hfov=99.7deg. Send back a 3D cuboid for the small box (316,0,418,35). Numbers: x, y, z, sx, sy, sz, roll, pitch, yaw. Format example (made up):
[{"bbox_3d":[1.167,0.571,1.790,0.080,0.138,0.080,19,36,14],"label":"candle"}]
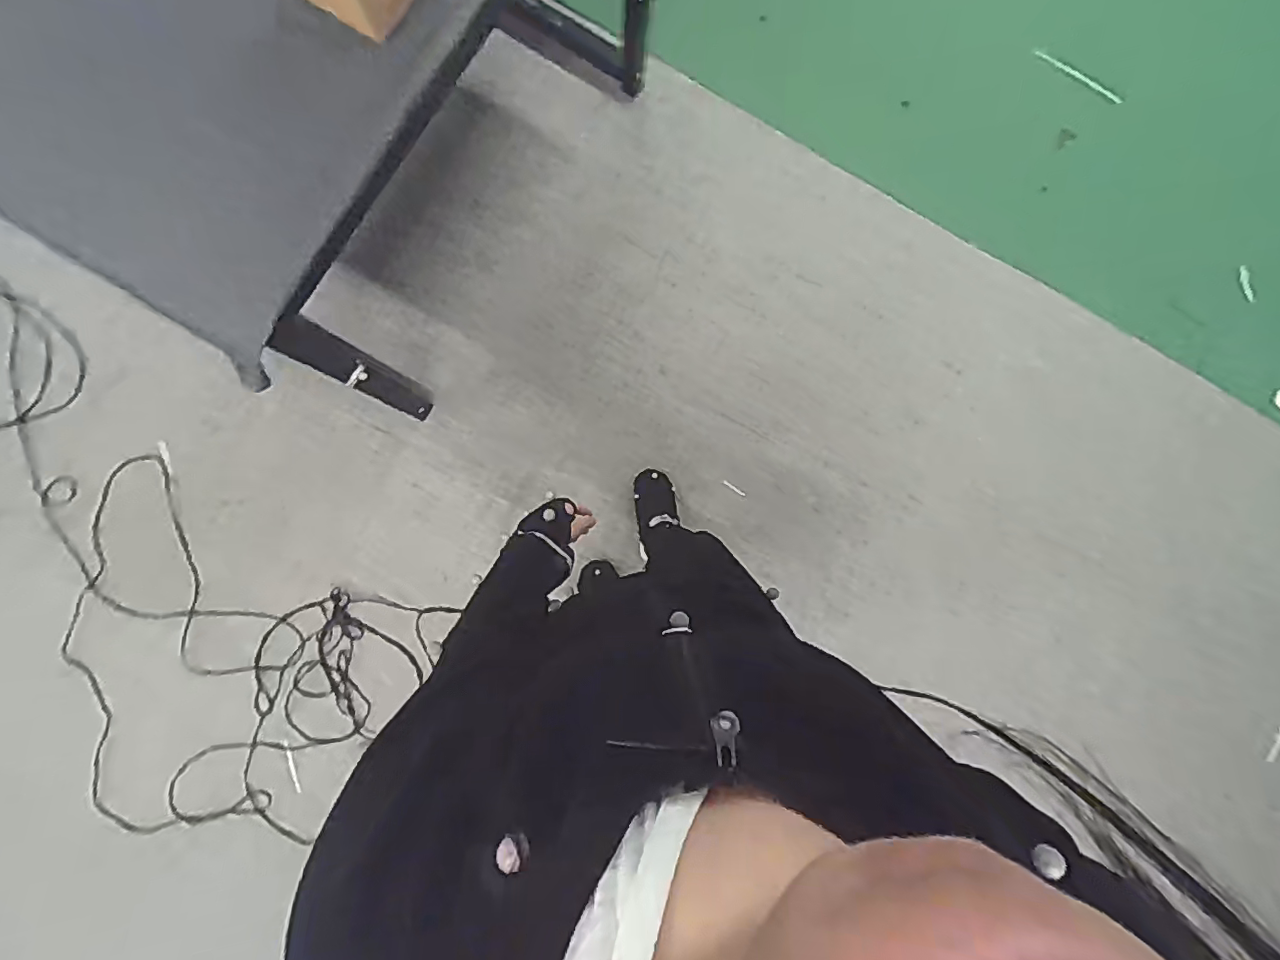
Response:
[{"bbox_3d":[-0.401,-0.757,0.719,0.179,0.176,0.168,32,86,0],"label":"small box"}]
